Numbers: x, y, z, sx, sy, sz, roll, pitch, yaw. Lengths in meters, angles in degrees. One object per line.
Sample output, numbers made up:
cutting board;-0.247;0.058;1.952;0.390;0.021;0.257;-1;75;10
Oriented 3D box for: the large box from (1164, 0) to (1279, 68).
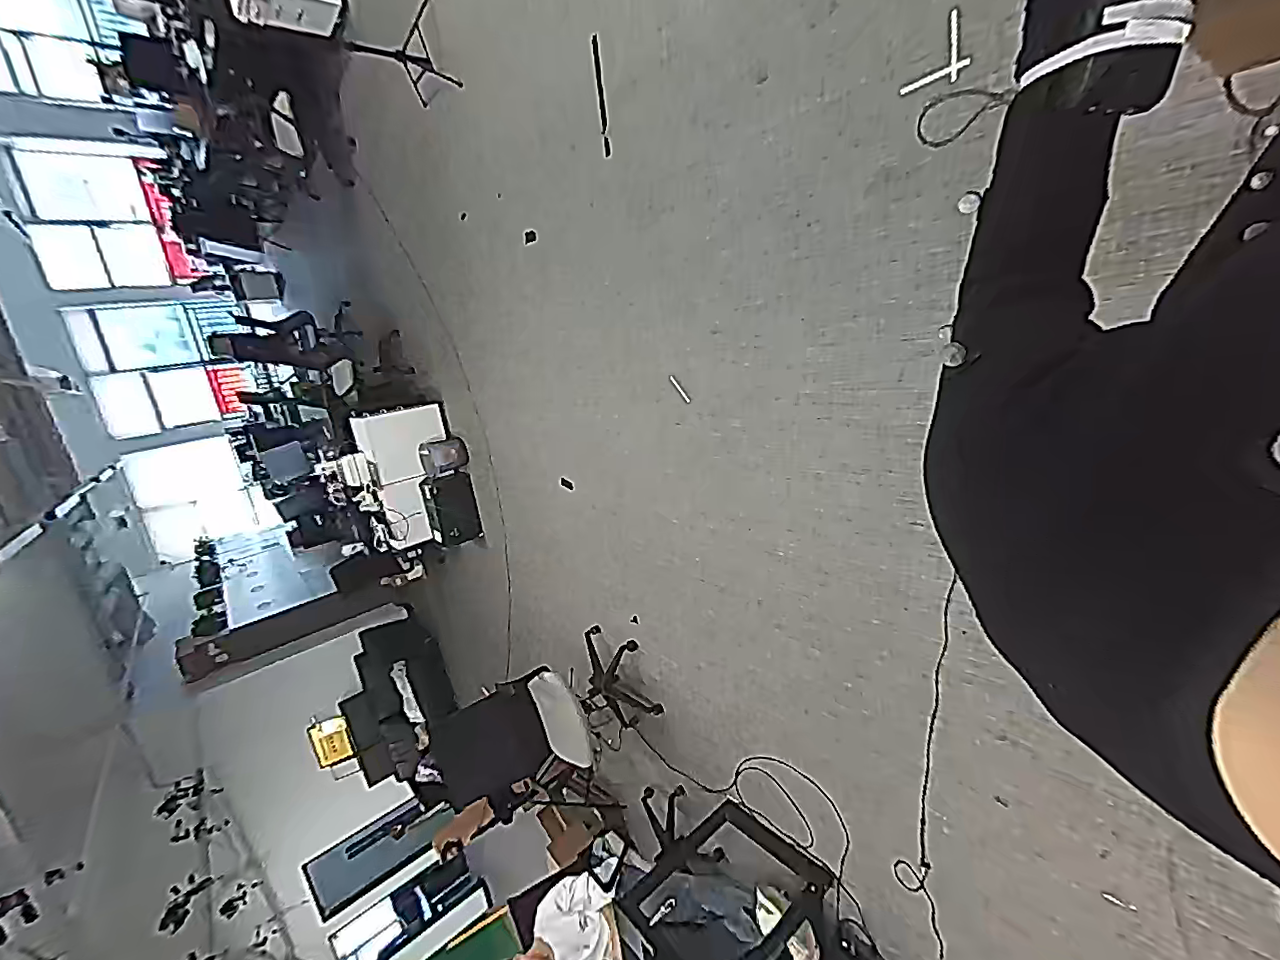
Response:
large box;0.545;-0.473;0.246;0.408;0.320;0.320;11;117;49
